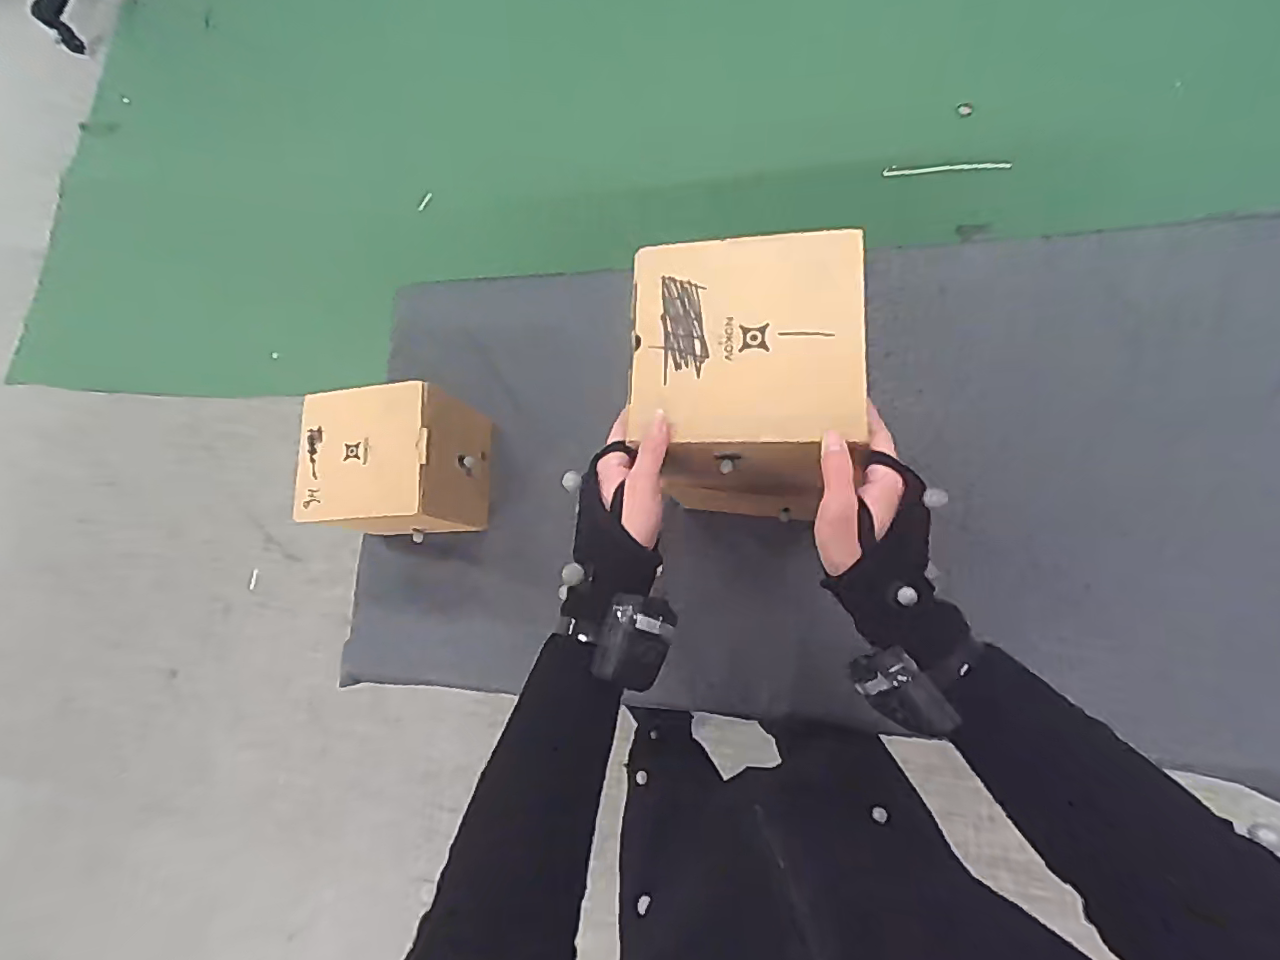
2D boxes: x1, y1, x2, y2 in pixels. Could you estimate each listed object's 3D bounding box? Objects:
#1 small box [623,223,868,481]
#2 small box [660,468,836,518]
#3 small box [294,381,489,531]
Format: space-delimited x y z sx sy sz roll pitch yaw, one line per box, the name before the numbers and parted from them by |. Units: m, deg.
small box | 0.094 -0.095 0.479 0.179 0.176 0.168 1 79 12
small box | 0.132 -0.051 0.634 0.179 0.176 0.168 4 79 15
small box | -0.320 -0.022 0.730 0.179 0.176 0.168 -3 78 11
